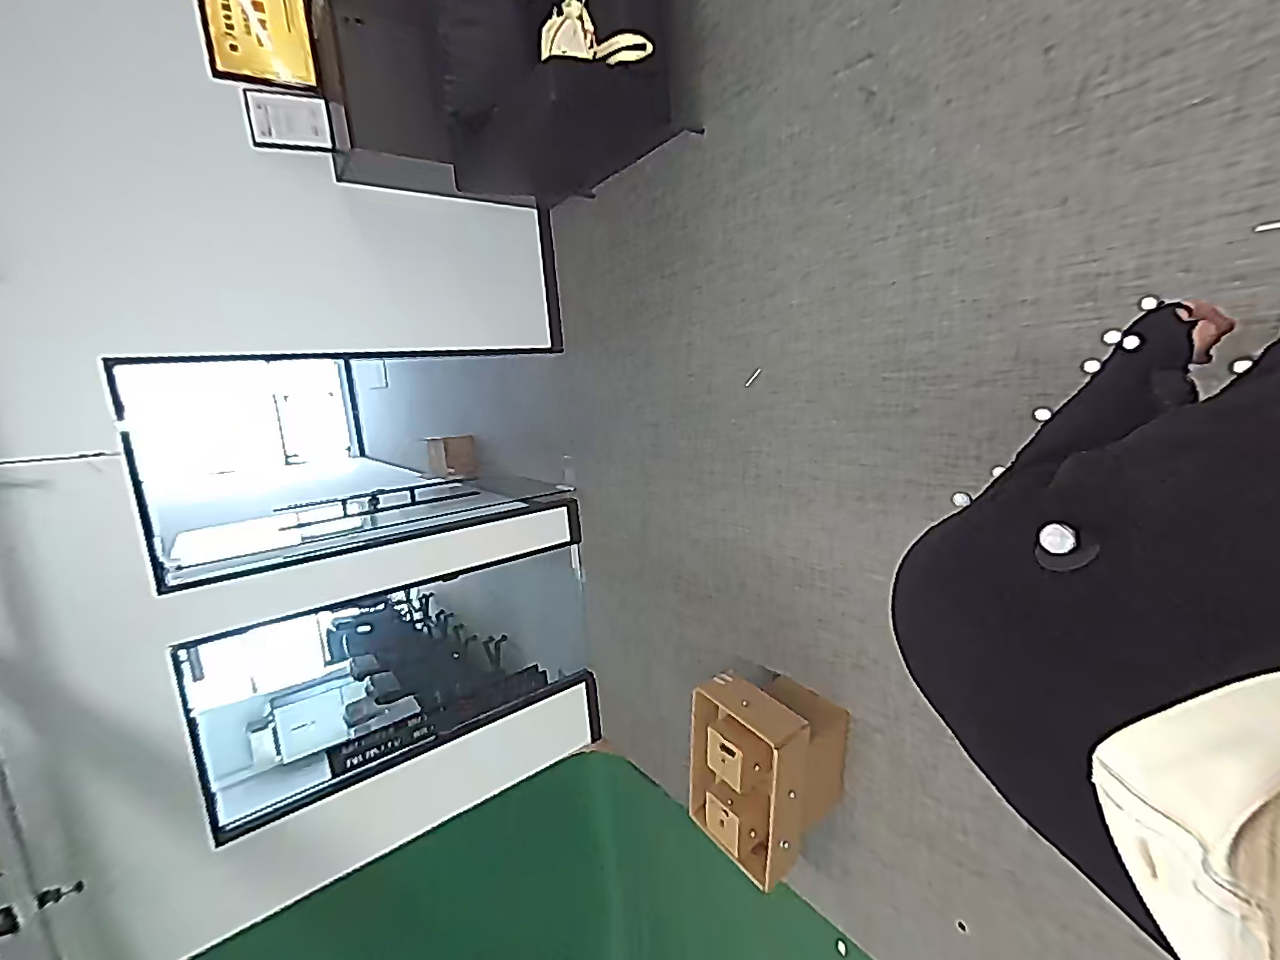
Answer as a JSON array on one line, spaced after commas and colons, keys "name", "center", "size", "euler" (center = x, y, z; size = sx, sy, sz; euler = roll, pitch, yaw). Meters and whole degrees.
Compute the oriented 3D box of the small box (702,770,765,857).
[{"name": "small box", "center": [0.348, 1.228, 2.002], "size": [0.168, 0.176, 0.179], "euler": [15, 112, 51]}]
